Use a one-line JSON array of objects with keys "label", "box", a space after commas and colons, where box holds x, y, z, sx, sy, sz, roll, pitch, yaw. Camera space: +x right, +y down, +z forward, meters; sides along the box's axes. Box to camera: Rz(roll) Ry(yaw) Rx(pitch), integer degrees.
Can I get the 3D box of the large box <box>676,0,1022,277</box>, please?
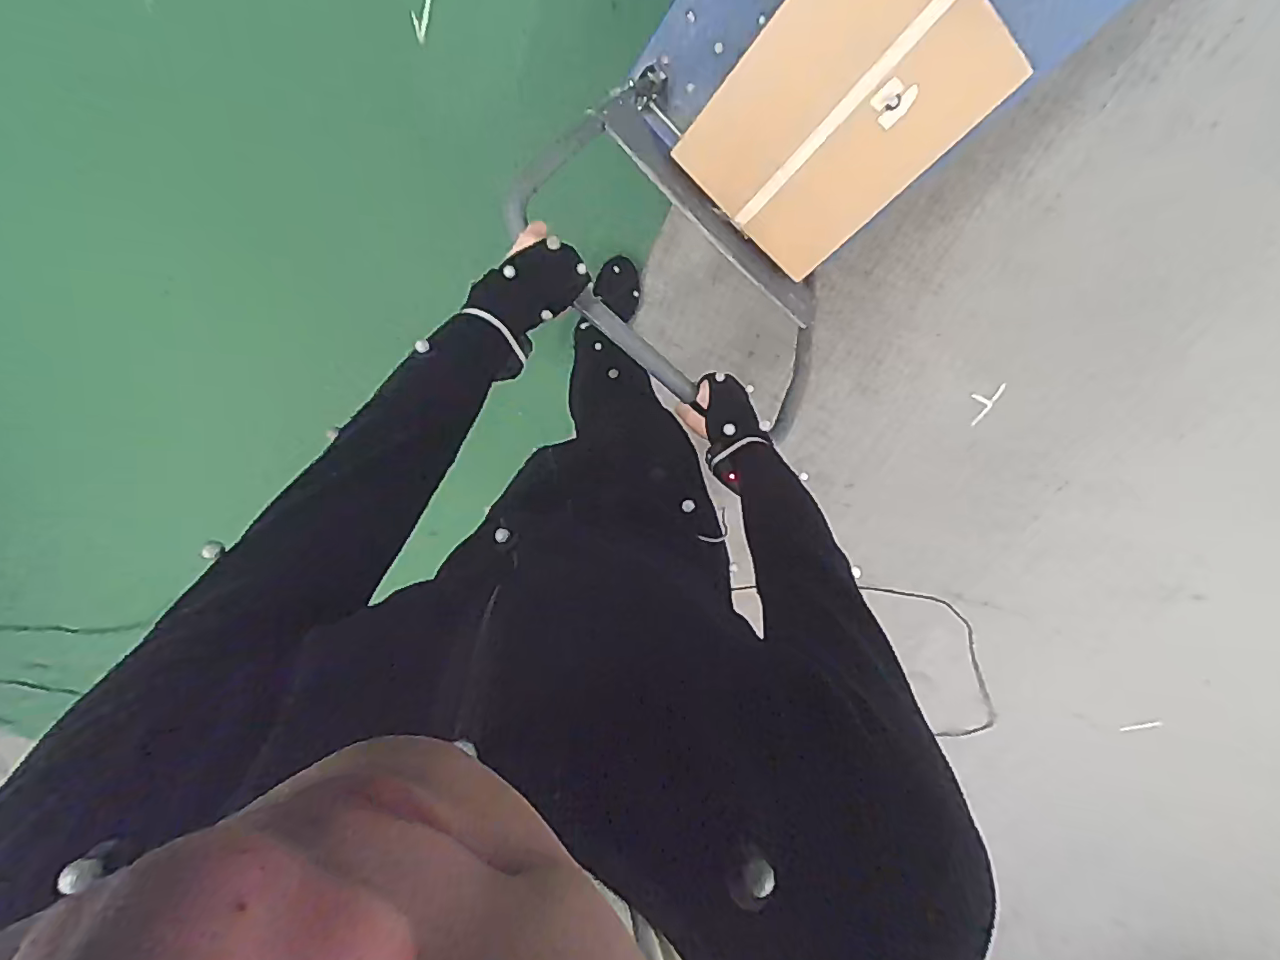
[{"label": "large box", "box": [0.320, -0.644, 0.923, 0.320, 0.320, 0.408, 37, 130, -17]}]
